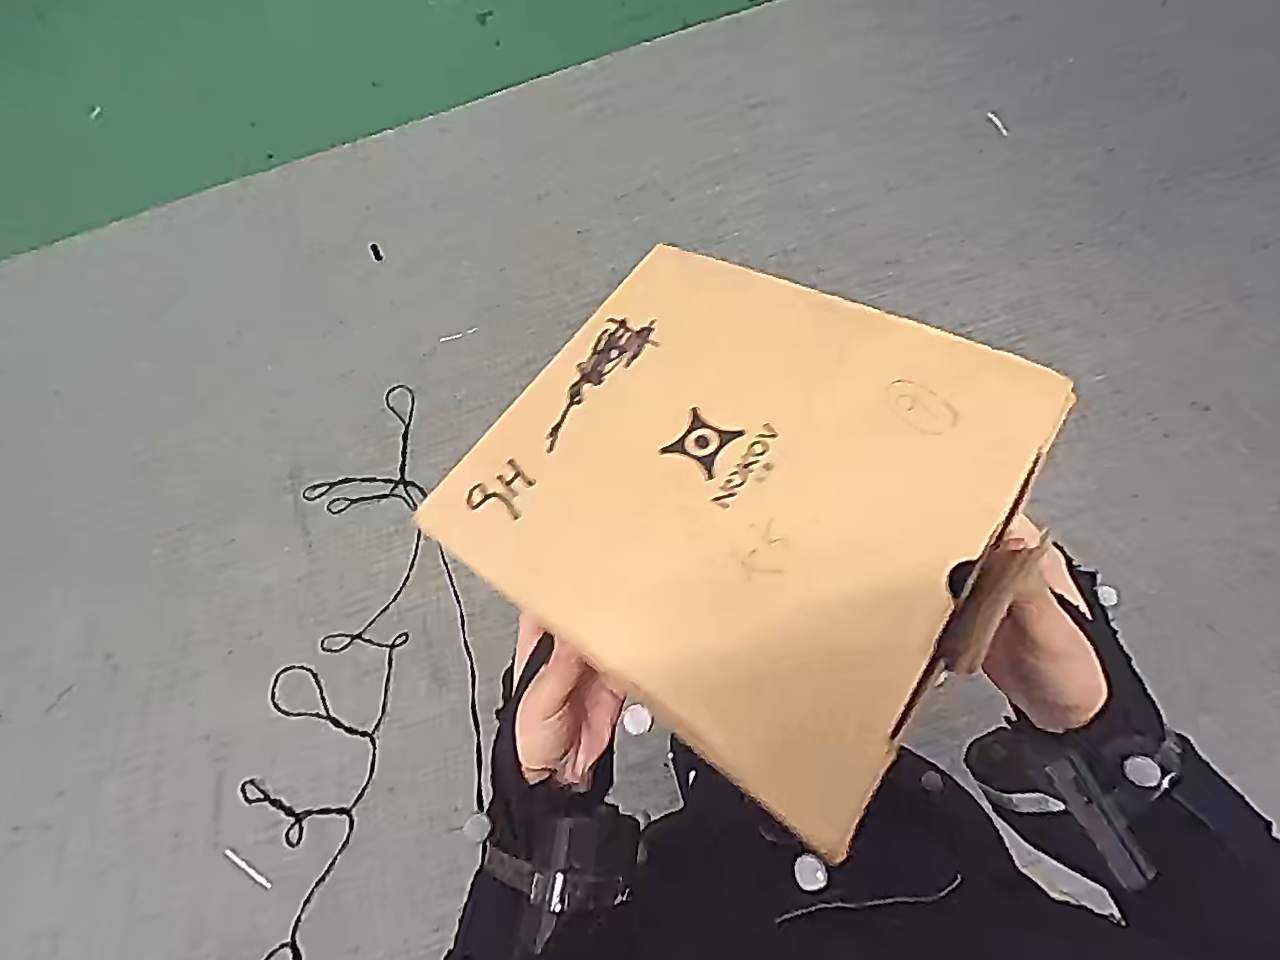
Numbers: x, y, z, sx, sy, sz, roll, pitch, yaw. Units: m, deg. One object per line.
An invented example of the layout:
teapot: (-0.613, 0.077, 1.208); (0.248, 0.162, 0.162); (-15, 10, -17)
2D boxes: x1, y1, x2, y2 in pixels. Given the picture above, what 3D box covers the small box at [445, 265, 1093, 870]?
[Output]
small box: (0.052, 0.037, 0.265); (0.179, 0.176, 0.168); (32, 72, 25)
